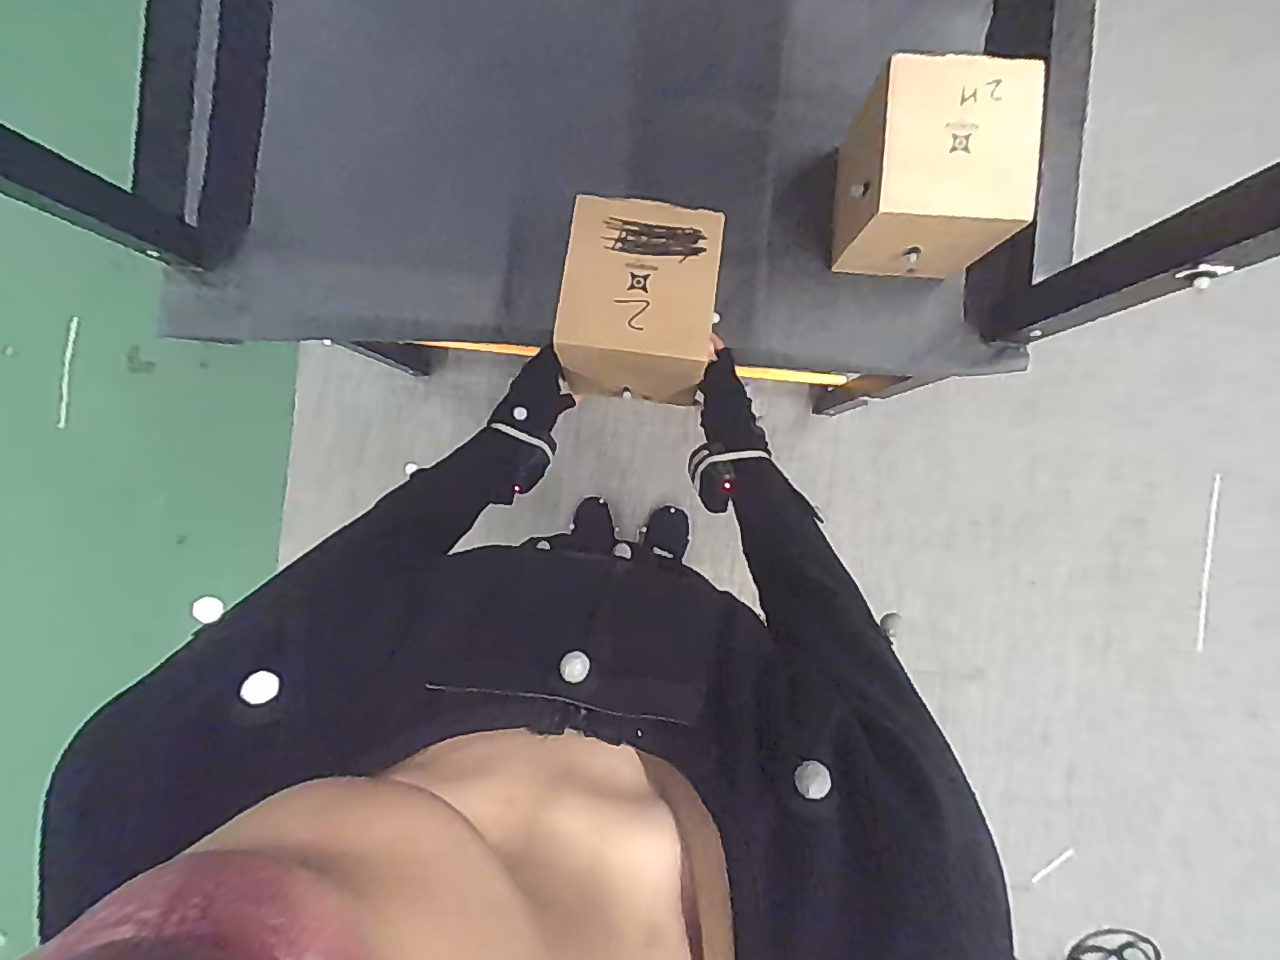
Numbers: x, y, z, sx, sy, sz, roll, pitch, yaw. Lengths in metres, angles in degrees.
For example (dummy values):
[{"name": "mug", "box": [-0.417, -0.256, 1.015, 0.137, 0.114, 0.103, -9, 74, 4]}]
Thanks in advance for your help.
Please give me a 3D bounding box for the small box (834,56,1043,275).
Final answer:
[{"name": "small box", "box": [0.349, -0.369, 0.665, 0.168, 0.176, 0.179, 4, 90, 1]}]
